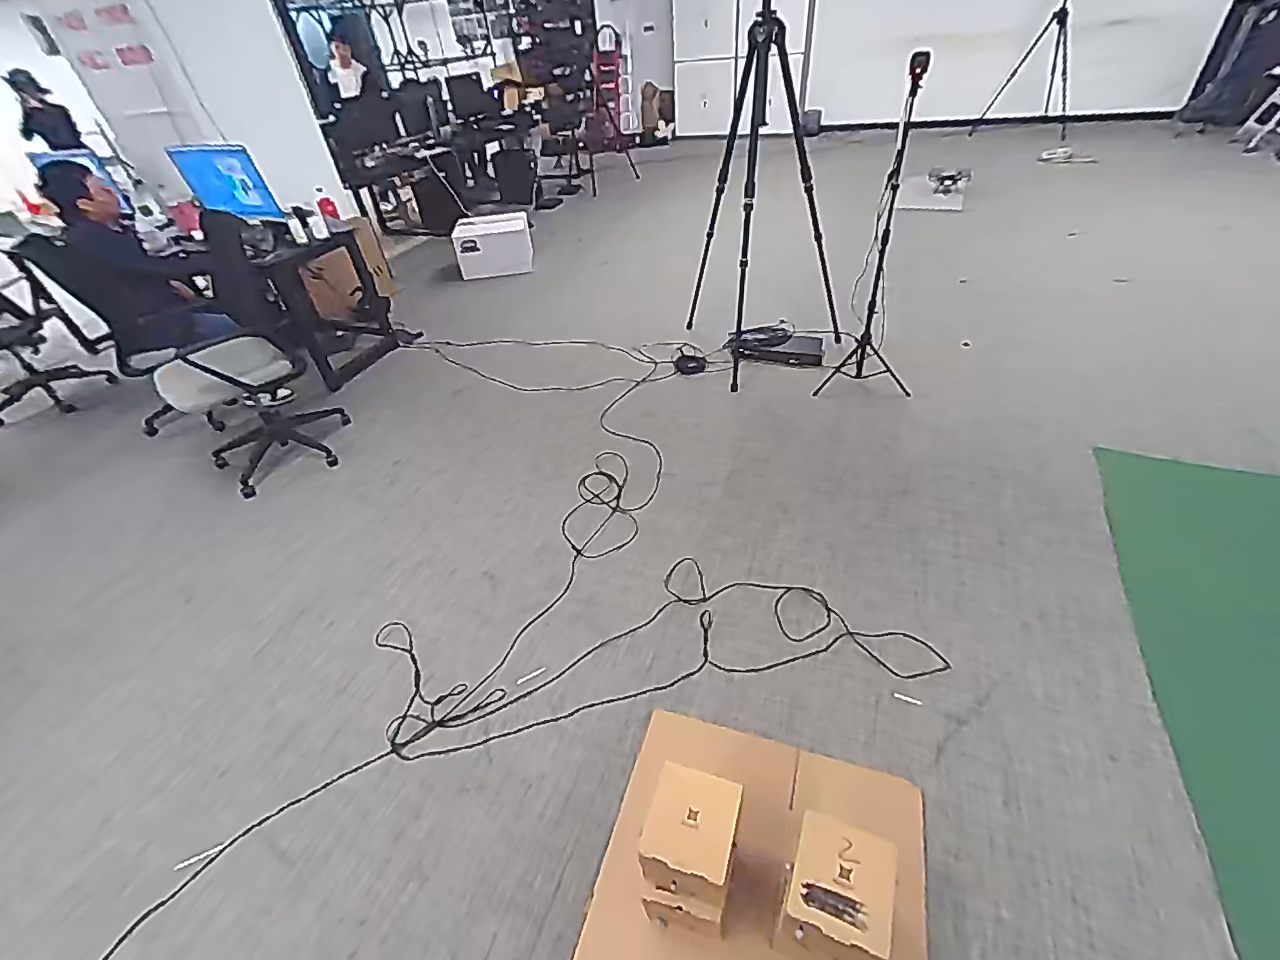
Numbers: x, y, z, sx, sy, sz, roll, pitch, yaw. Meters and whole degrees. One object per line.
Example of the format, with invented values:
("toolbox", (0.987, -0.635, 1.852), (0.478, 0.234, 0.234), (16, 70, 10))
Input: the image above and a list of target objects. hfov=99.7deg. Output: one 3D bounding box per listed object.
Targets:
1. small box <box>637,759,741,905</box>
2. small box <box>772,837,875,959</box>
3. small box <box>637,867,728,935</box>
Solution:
("small box", (0.102, 0.707, 1.088), (0.168, 0.176, 0.179), (10, 43, 18))
("small box", (0.370, 0.880, 1.104), (0.168, 0.176, 0.179), (12, 44, 22))
("small box", (0.102, 0.847, 1.175), (0.168, 0.176, 0.179), (7, 42, 16))
